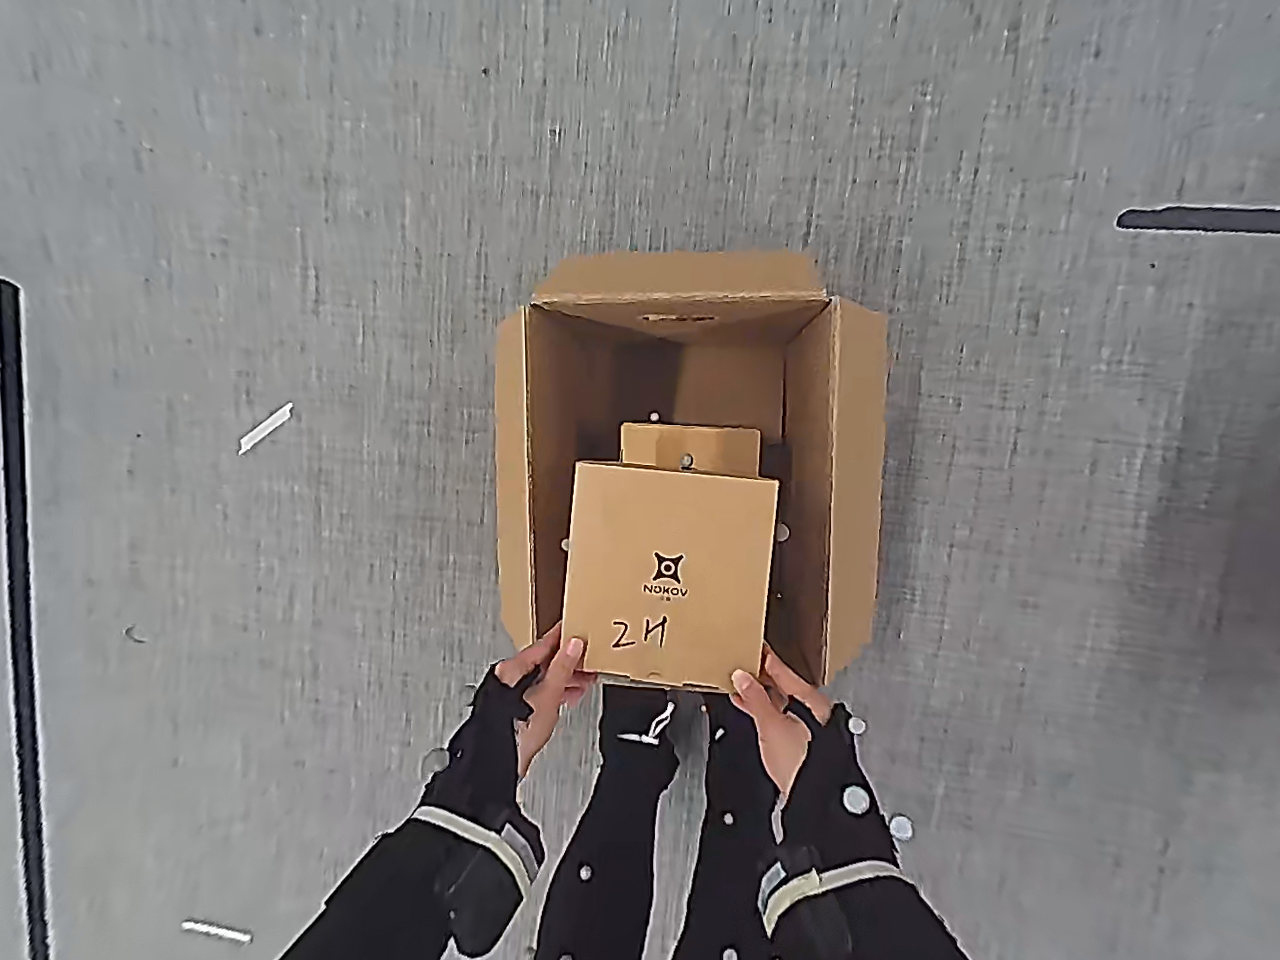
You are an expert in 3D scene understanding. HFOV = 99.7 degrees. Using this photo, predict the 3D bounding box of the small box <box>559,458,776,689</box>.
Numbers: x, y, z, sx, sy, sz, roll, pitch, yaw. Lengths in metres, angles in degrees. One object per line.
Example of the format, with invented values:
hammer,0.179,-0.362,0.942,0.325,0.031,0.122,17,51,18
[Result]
small box,0.029,0.074,0.523,0.168,0.176,0.179,5,92,7
